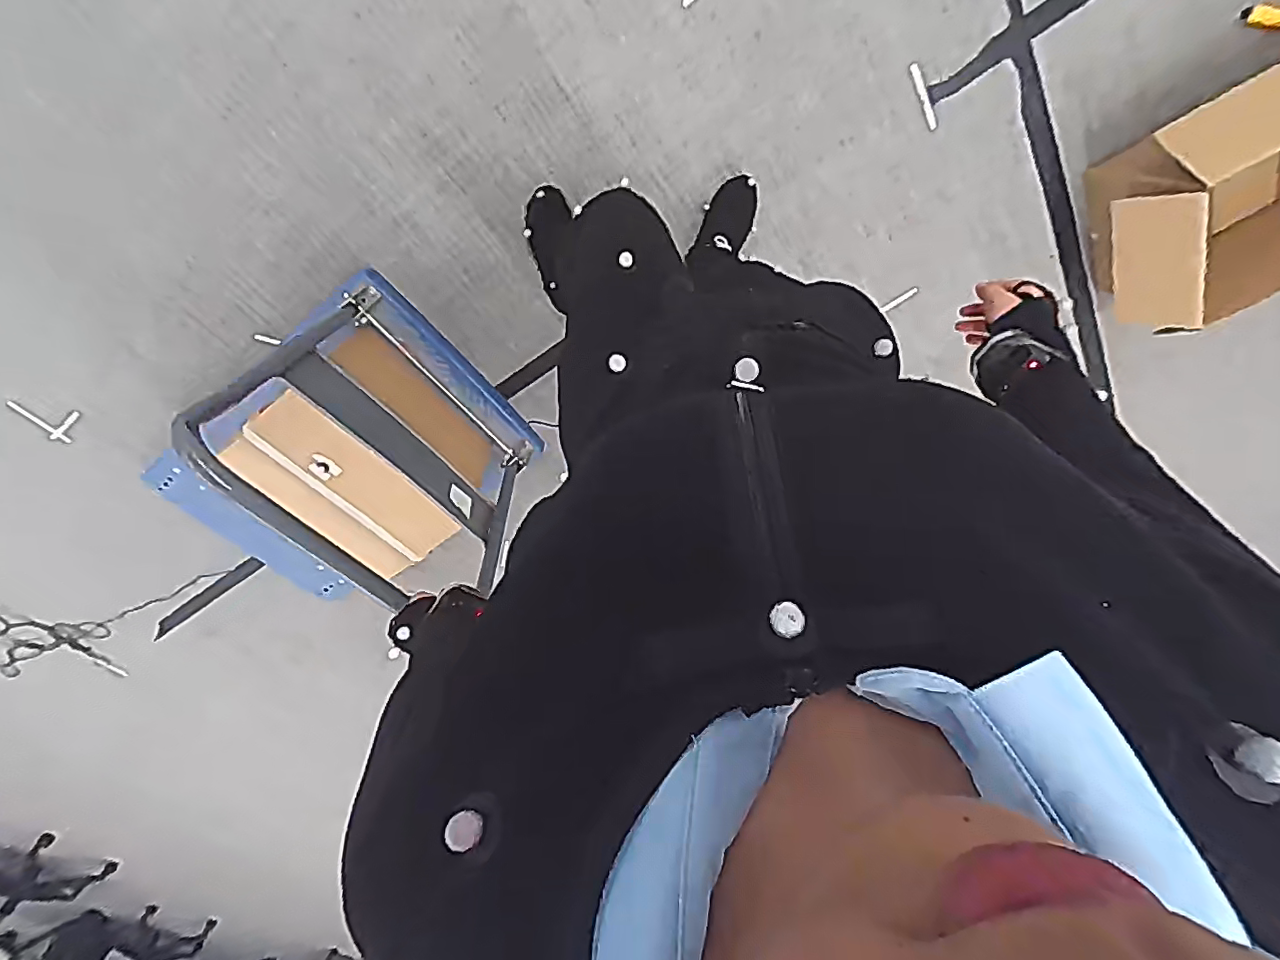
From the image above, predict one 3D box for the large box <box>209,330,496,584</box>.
[{"bbox_3d":[-0.596,-0.051,1.206,0.320,0.320,0.408,-33,118,17],"label":"large box"}]
